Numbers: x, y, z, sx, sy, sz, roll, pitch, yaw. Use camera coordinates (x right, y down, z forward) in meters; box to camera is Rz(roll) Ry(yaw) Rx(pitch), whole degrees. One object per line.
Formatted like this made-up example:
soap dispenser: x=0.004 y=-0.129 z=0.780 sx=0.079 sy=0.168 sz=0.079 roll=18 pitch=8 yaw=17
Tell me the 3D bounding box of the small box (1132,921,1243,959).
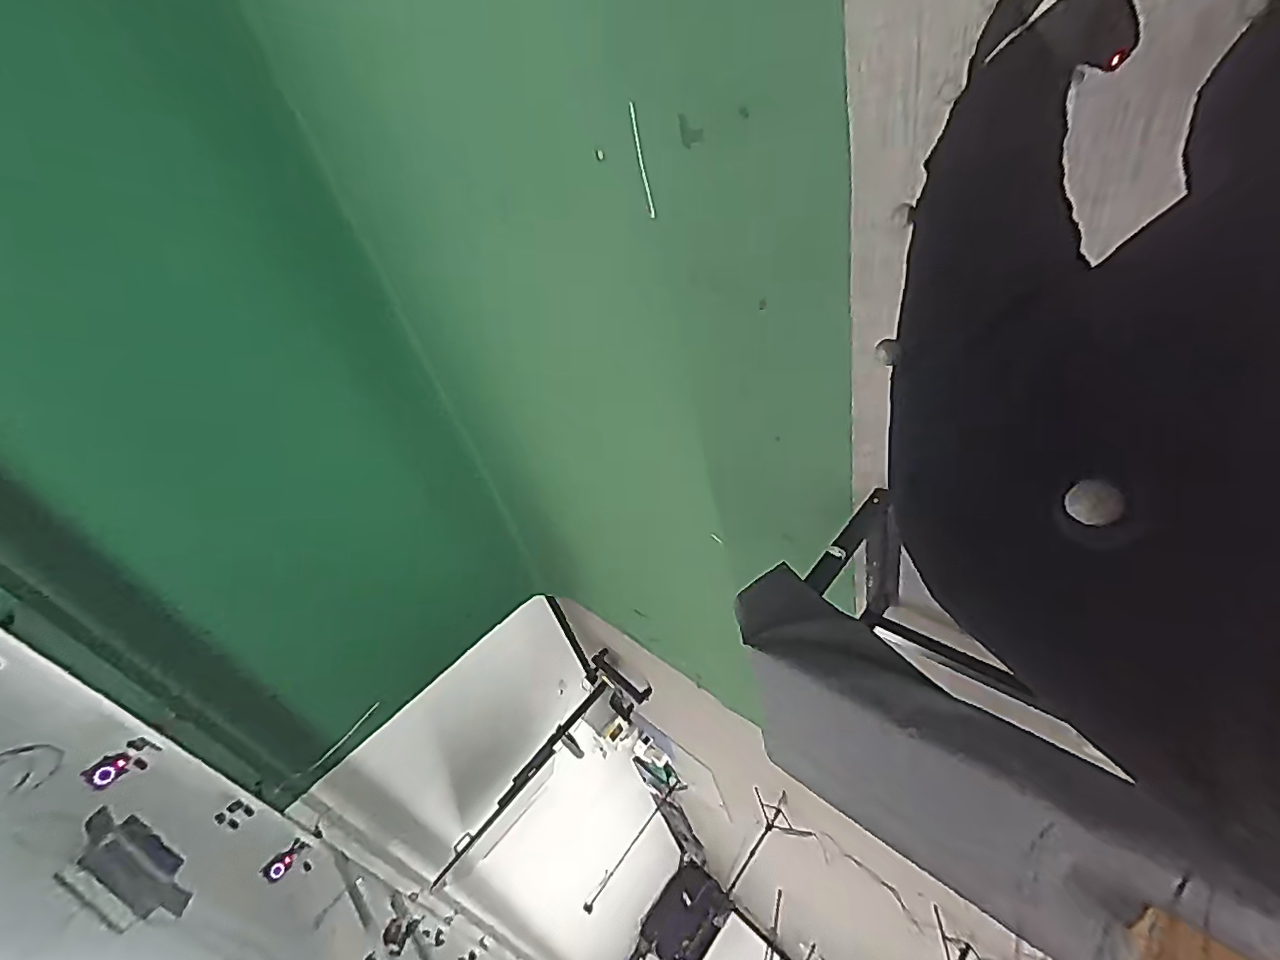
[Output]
small box: x=0.895 y=0.845 z=0.849 sx=0.179 sy=0.176 sz=0.168 roll=19 pitch=140 yaw=42
